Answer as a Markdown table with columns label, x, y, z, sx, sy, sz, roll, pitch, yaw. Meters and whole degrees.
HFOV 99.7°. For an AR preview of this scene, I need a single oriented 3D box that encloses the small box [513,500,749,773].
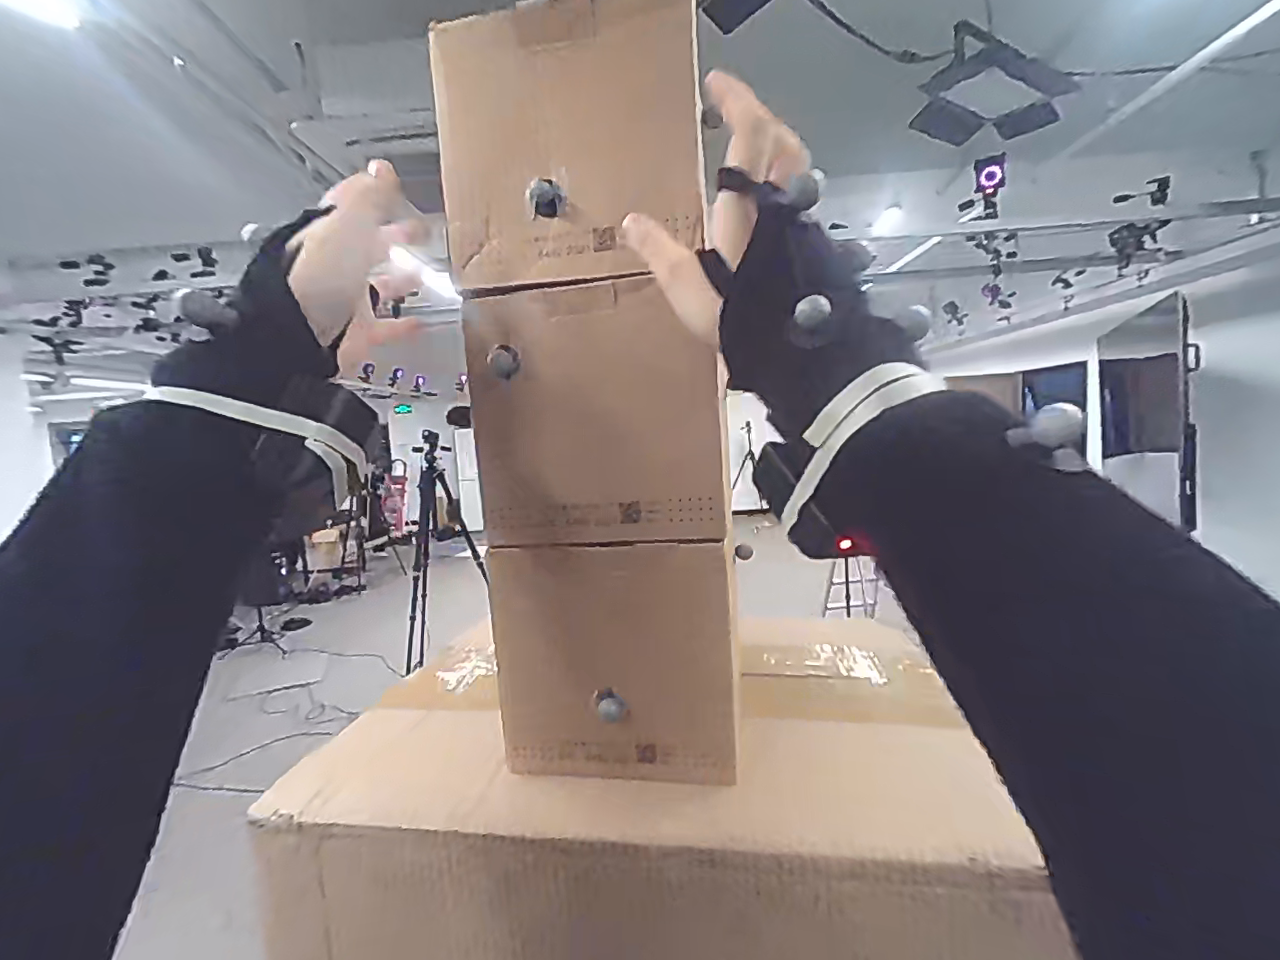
| label | x | y | z | sx | sy | sz | roll | pitch | yaw |
| --- | --- | --- | --- | --- | --- | --- | --- | --- | --- |
| small box | 0.005 | 0.113 | 0.460 | 0.168 | 0.176 | 0.179 | -2 | 7 | 10 |
